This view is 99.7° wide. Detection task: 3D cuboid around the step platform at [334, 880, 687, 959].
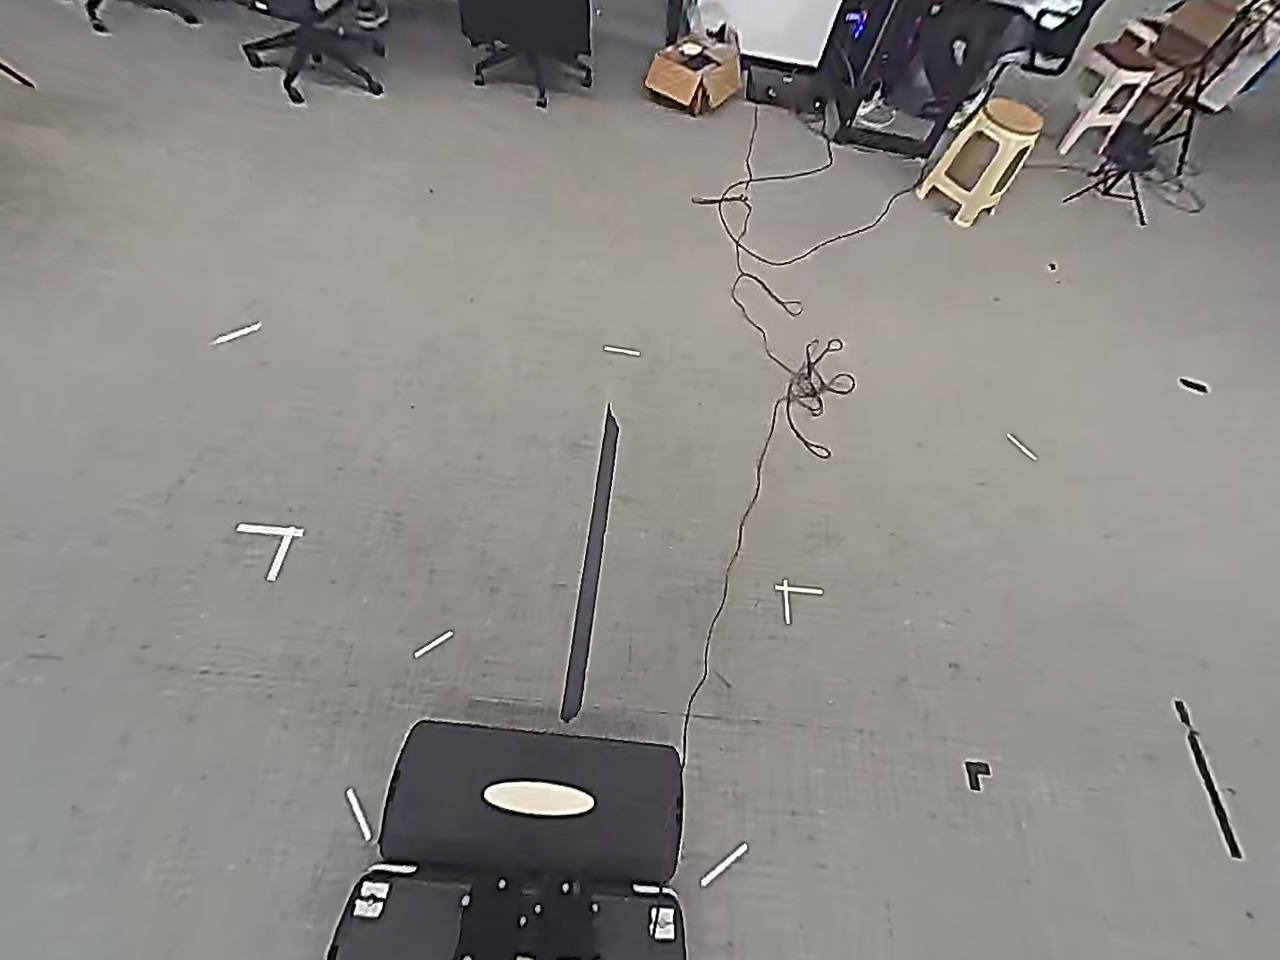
[{"bbox_3d":[-0.246,1.001,1.039,0.684,0.204,0.286,11,57,-1],"label":"step platform"}]
